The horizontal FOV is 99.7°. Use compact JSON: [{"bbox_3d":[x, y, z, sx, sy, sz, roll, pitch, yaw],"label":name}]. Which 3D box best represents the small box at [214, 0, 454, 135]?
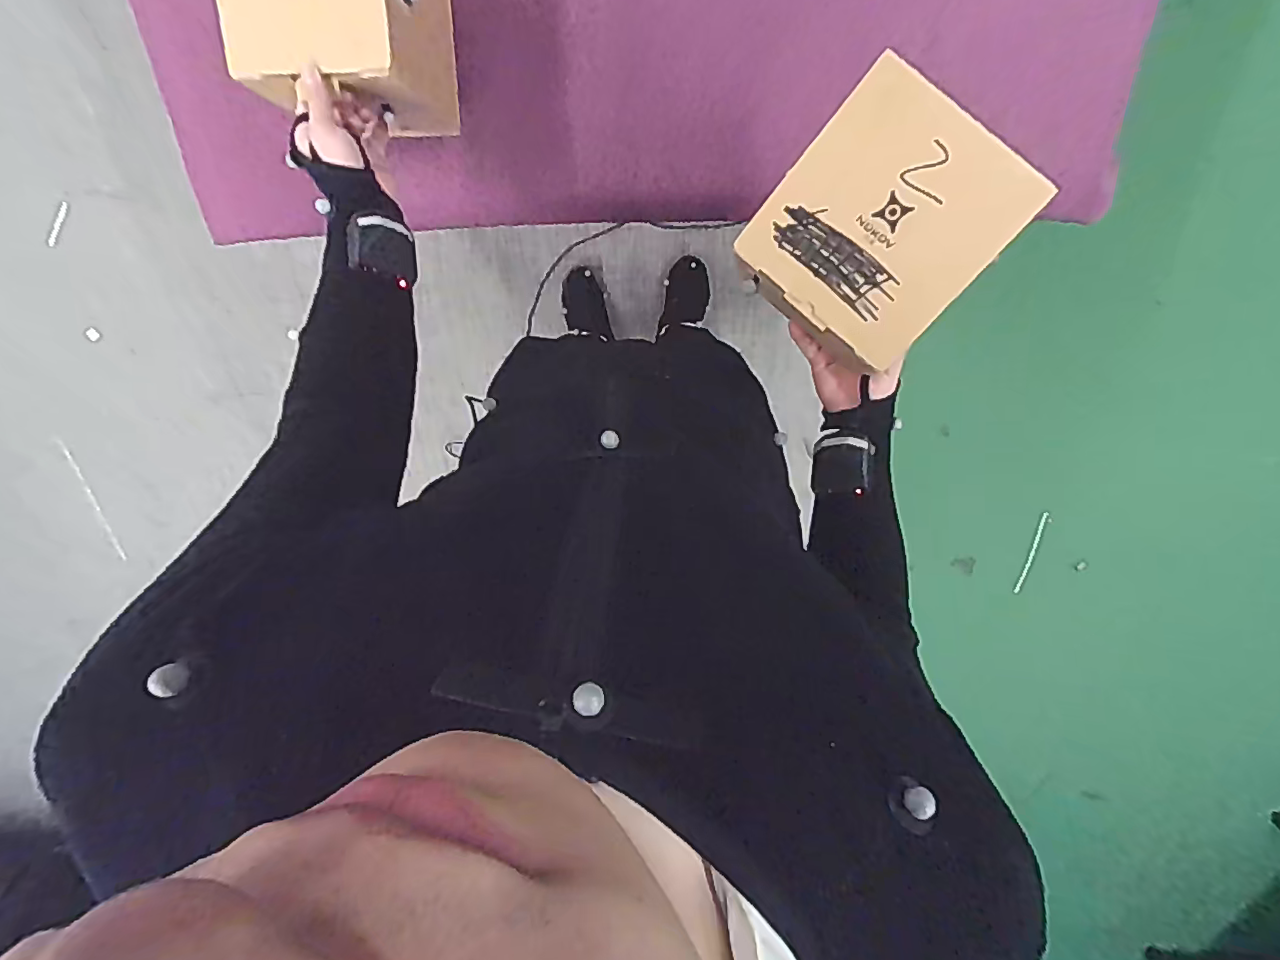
[{"bbox_3d":[-0.311,-0.487,0.573,0.168,0.176,0.179,2,105,4],"label":"small box"}]
